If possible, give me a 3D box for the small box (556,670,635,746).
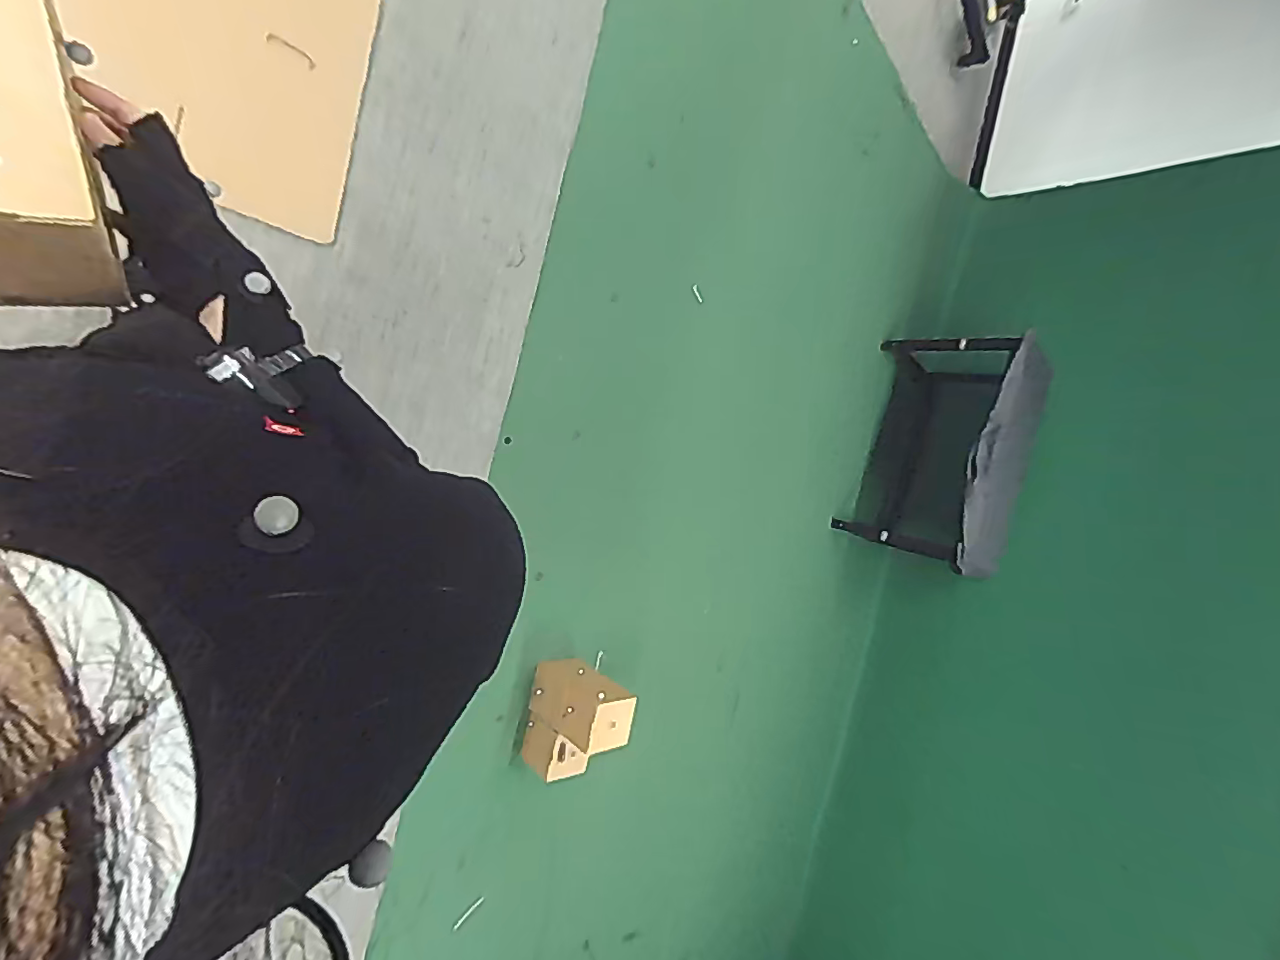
[{"bbox_3d":[-0.149,0.749,1.796,0.179,0.176,0.168,10,93,-44],"label":"small box"}]
